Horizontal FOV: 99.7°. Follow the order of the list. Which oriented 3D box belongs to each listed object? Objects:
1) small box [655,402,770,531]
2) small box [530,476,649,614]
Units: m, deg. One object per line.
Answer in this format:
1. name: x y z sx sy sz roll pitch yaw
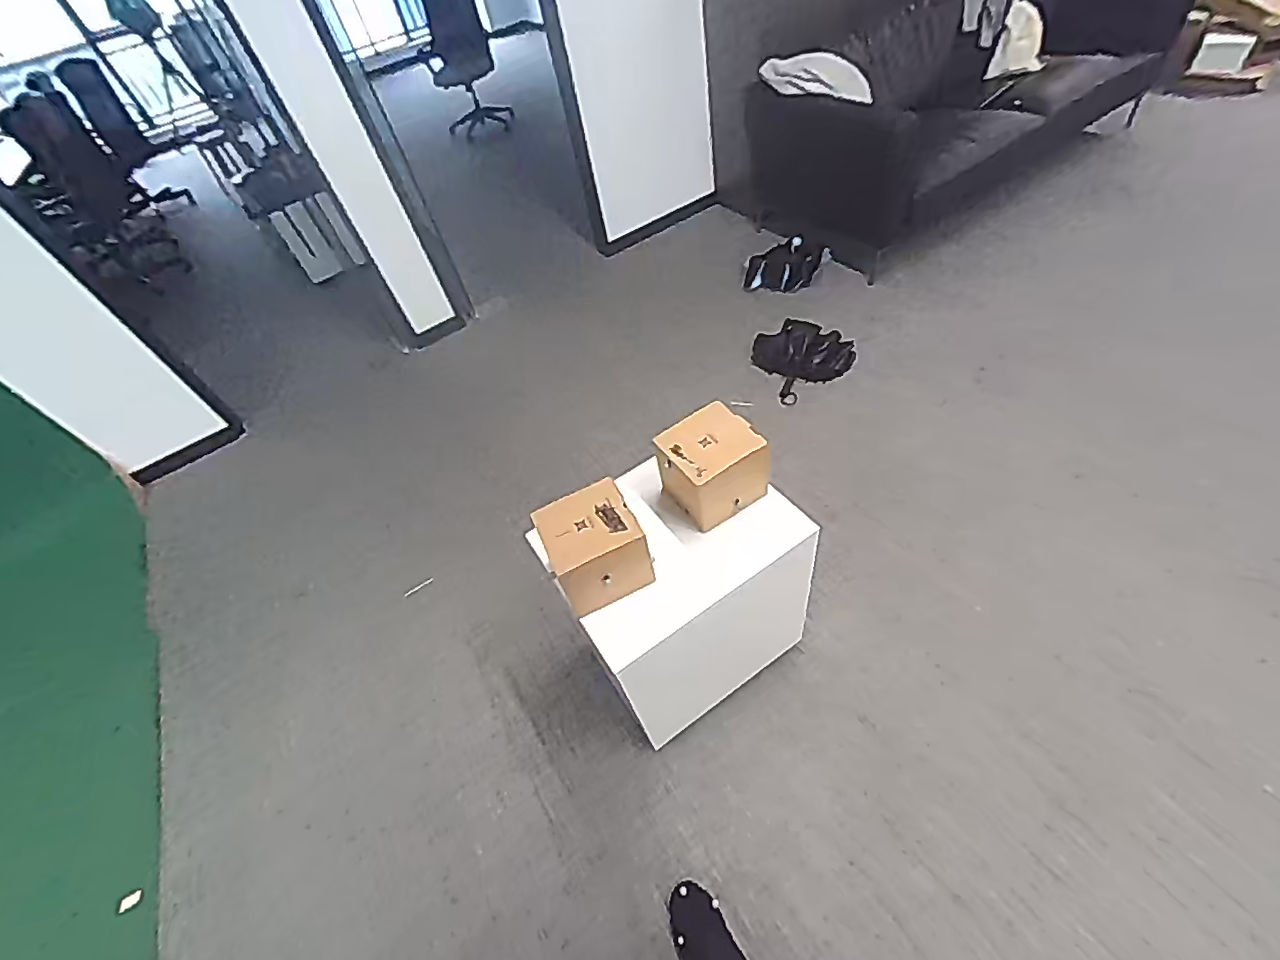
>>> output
1. small box: 0.150 -0.026 1.142 0.179 0.176 0.168 -29 51 -15
2. small box: -0.091 0.128 1.052 0.179 0.176 0.168 -24 49 -11
